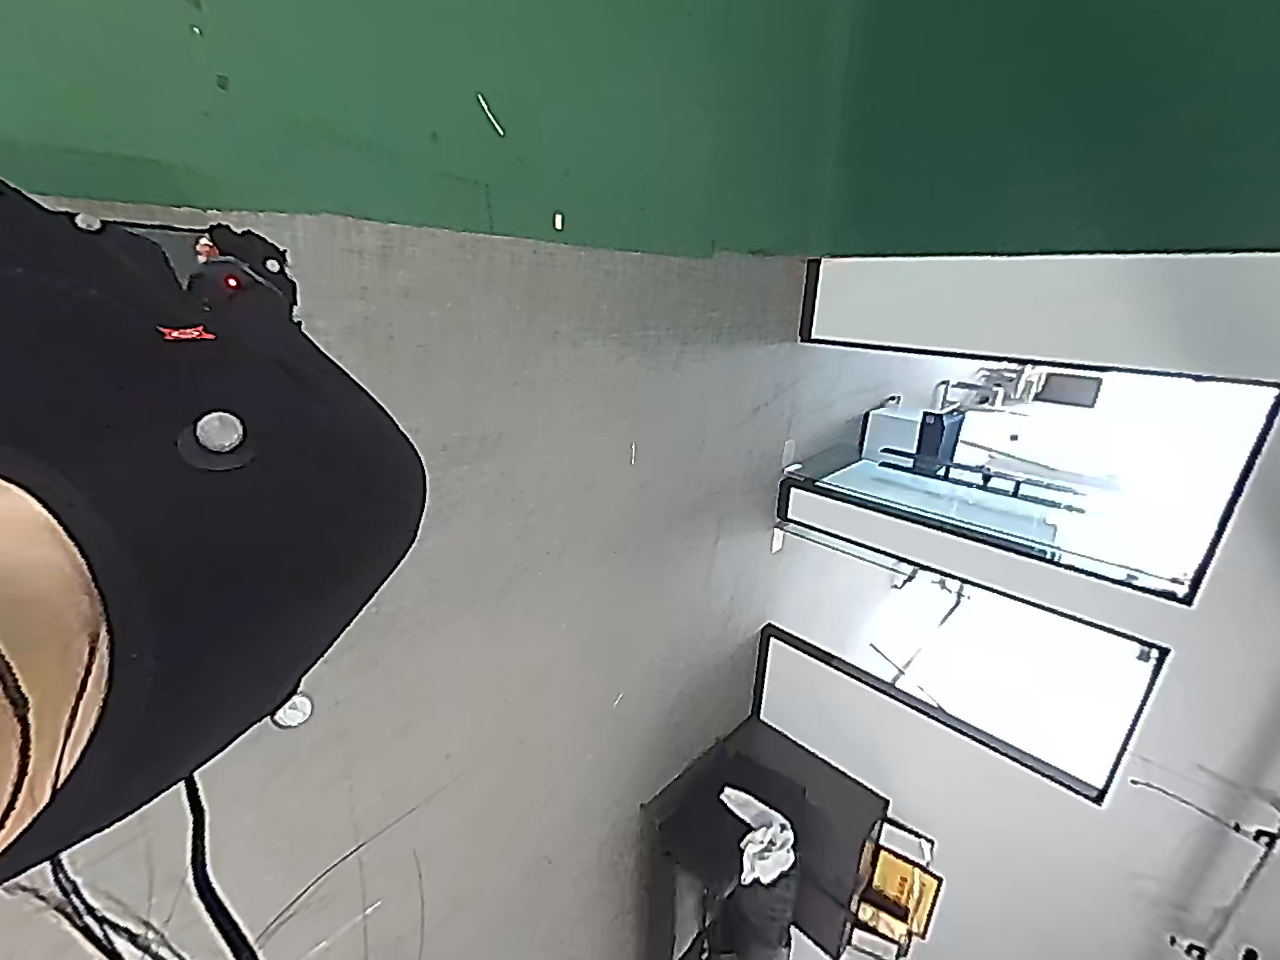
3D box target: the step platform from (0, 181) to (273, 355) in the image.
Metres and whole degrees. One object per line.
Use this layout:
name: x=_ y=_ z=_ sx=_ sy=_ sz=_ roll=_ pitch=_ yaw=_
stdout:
step platform: x=-1.035 y=-0.345 z=0.896 sx=0.684 sy=0.204 sz=0.286 roll=-17 pitch=118 yaw=-42
